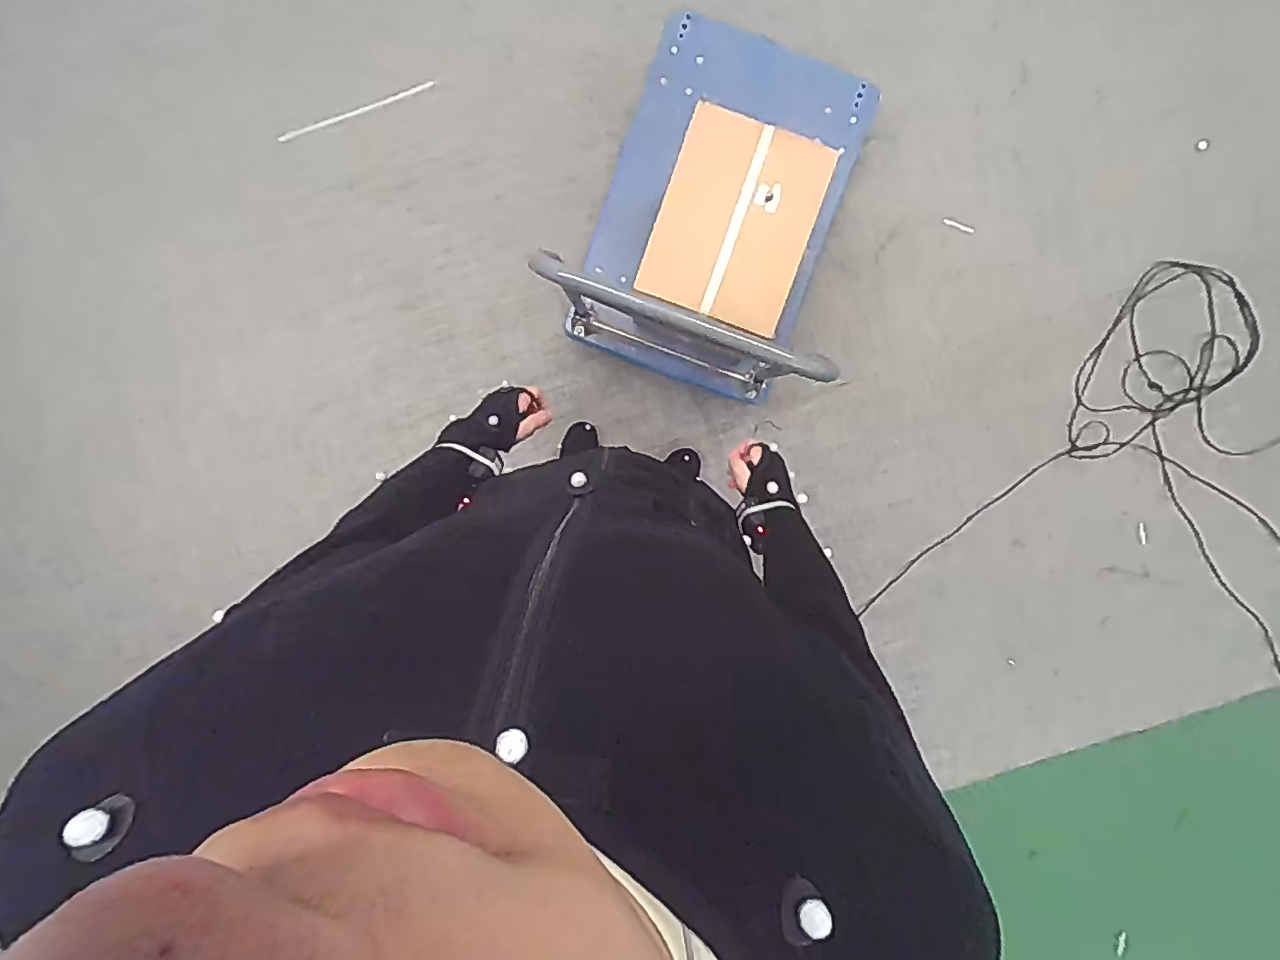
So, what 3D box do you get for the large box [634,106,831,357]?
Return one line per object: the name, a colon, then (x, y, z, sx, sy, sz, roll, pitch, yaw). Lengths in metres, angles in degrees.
large box: (0.192, -0.549, 1.283, 0.320, 0.320, 0.408, 20, 93, -3)
